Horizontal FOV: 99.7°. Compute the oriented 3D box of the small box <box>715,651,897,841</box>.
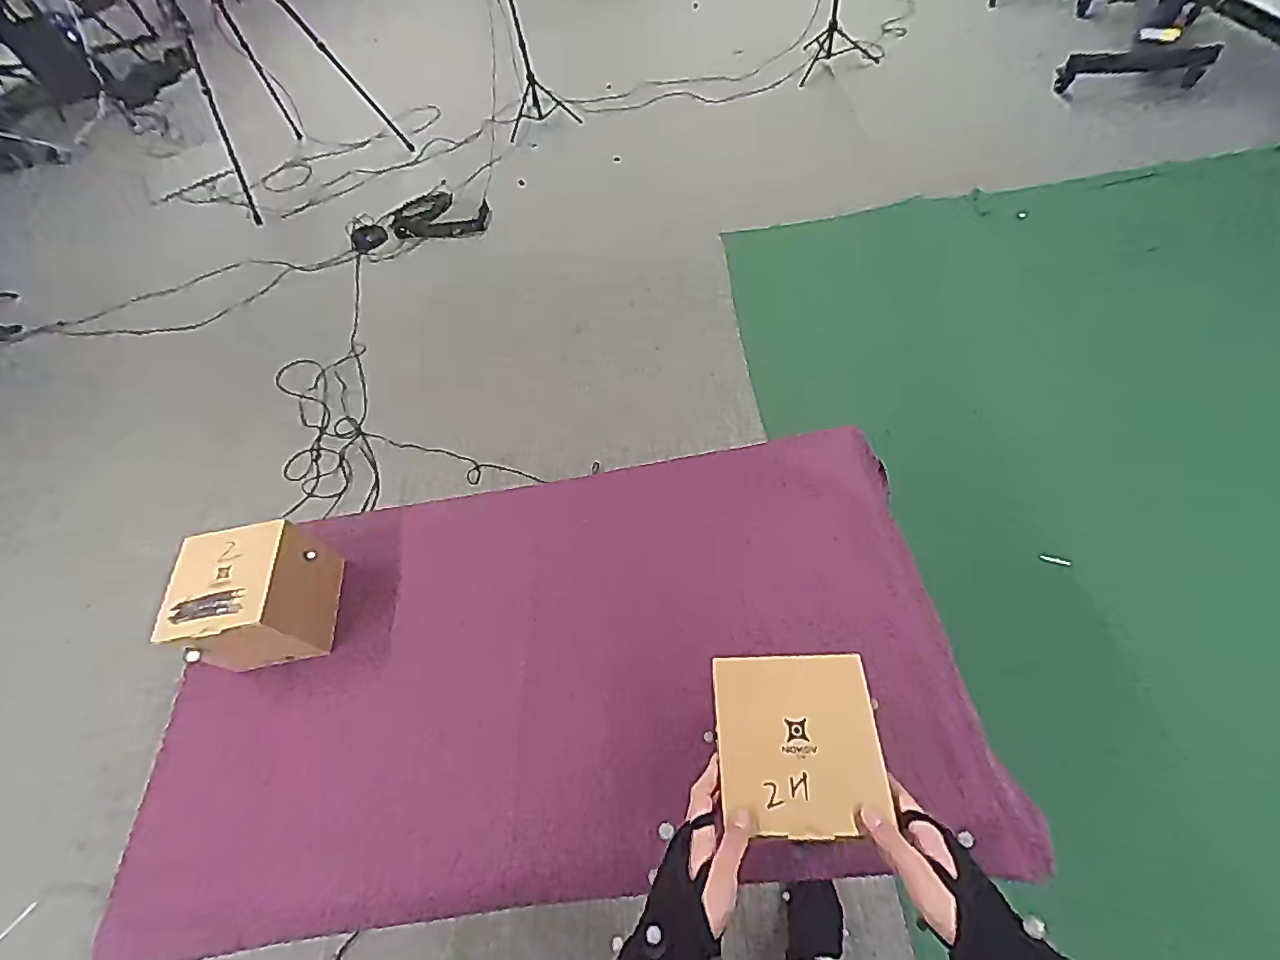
[{"bbox_3d":[0.174,0.313,0.631,0.168,0.176,0.179,-4,56,7],"label":"small box"}]
